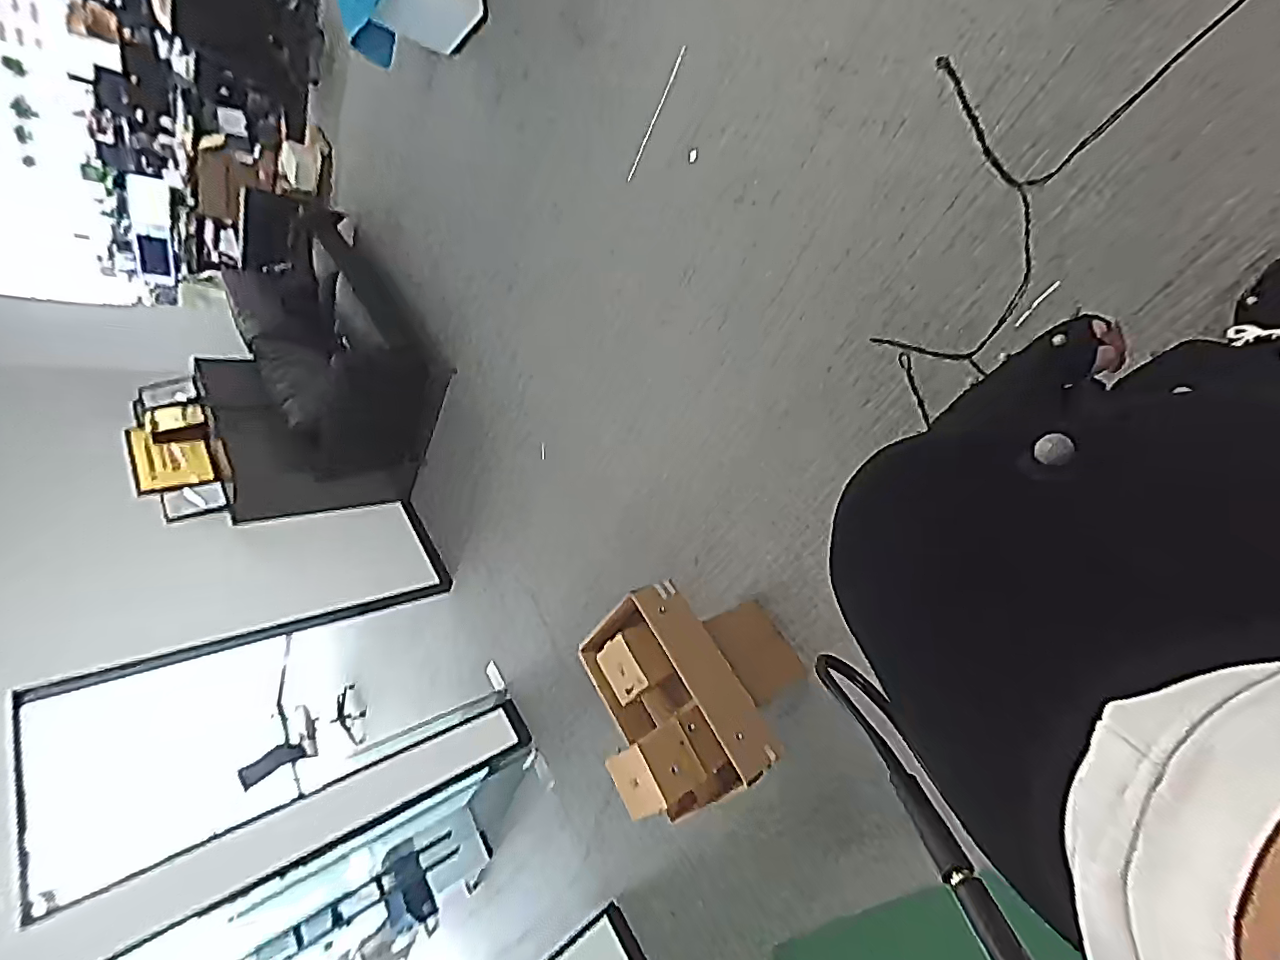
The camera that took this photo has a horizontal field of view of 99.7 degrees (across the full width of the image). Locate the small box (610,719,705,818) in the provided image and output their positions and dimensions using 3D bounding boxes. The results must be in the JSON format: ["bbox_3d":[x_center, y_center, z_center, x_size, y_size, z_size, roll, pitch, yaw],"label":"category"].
[{"bbox_3d":[0.054,0.789,1.492,0.179,0.176,0.168,-49,63,38],"label":"small box"}]
